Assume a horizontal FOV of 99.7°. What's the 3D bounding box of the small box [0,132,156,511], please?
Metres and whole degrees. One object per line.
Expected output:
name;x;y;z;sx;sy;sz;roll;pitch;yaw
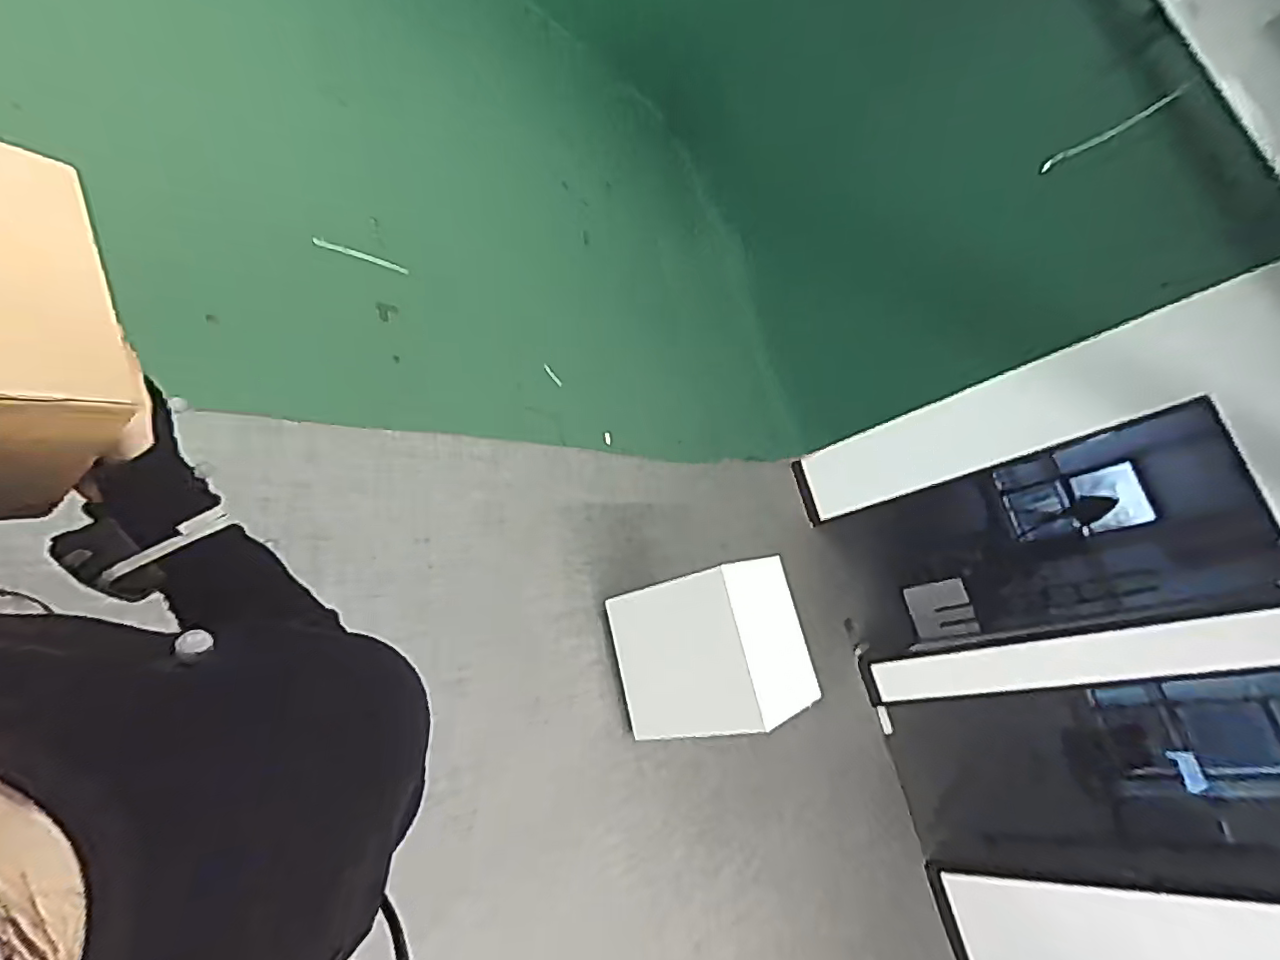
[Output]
small box;-0.422;-0.090;0.297;0.168;0.176;0.179;-7;72;-63
